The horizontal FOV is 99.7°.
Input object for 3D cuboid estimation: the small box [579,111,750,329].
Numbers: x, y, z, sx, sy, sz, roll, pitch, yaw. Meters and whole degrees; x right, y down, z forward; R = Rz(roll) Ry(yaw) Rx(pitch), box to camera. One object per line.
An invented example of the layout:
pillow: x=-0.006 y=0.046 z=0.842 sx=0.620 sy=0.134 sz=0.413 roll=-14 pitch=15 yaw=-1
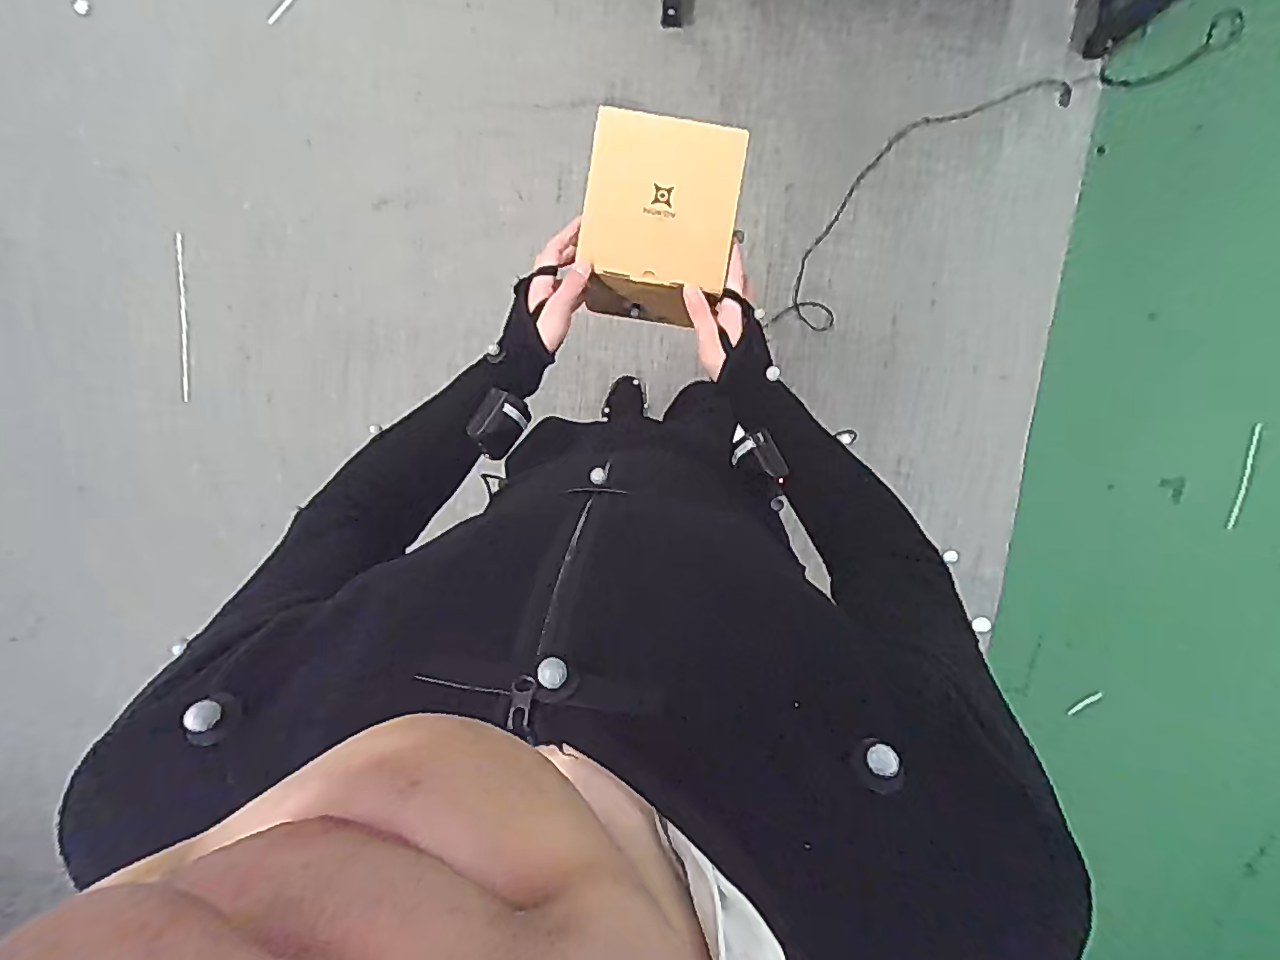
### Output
small box: x=0.024 y=-0.301 z=0.663 sx=0.168 sy=0.176 sz=0.179 roll=9 pitch=93 yaw=-1
